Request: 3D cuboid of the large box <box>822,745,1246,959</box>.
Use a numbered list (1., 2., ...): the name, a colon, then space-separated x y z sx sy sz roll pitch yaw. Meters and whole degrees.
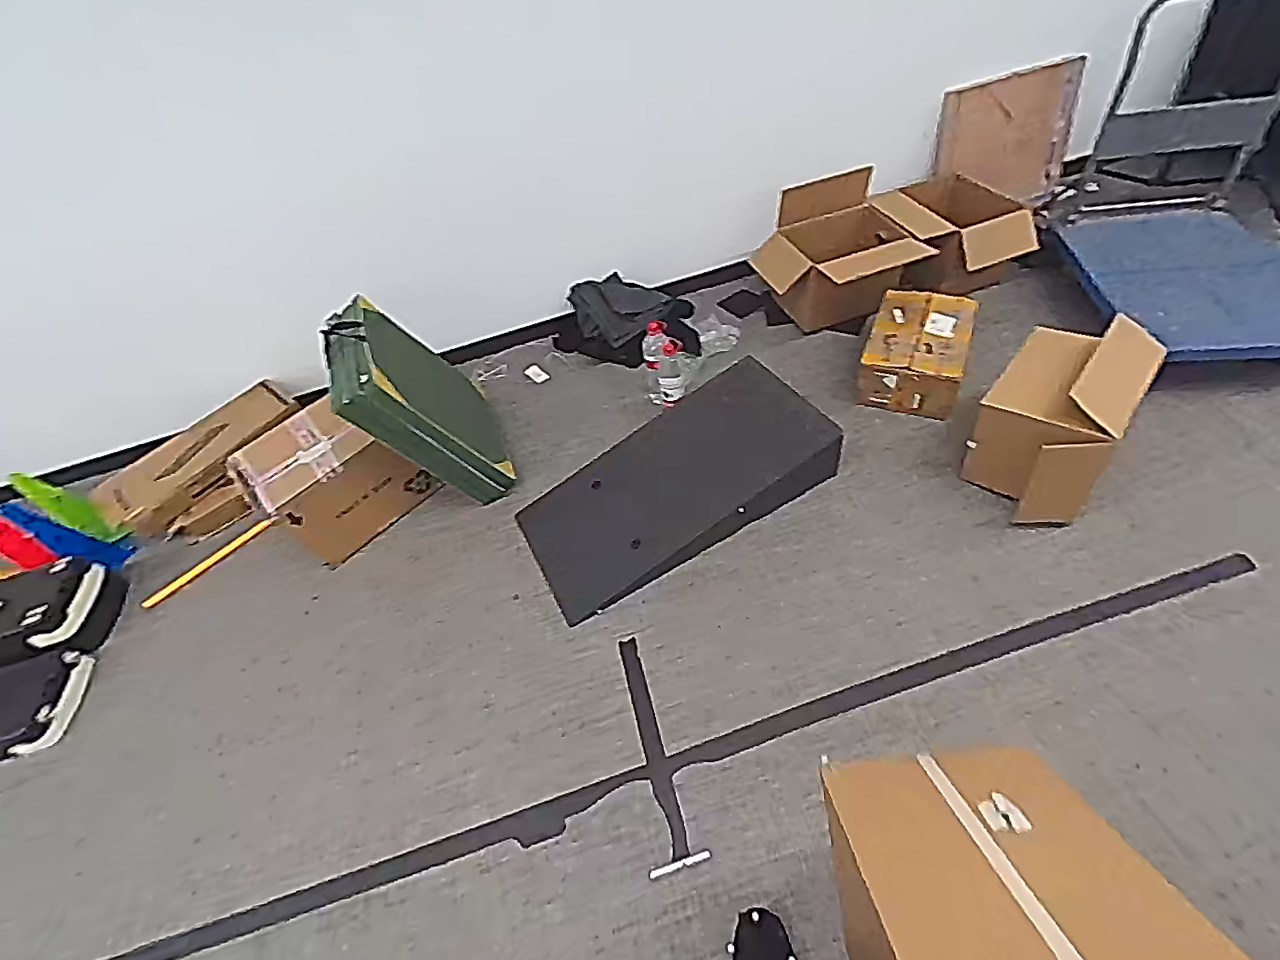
1. large box: 0.454 0.607 0.671 0.320 0.320 0.408 -8 7 4
